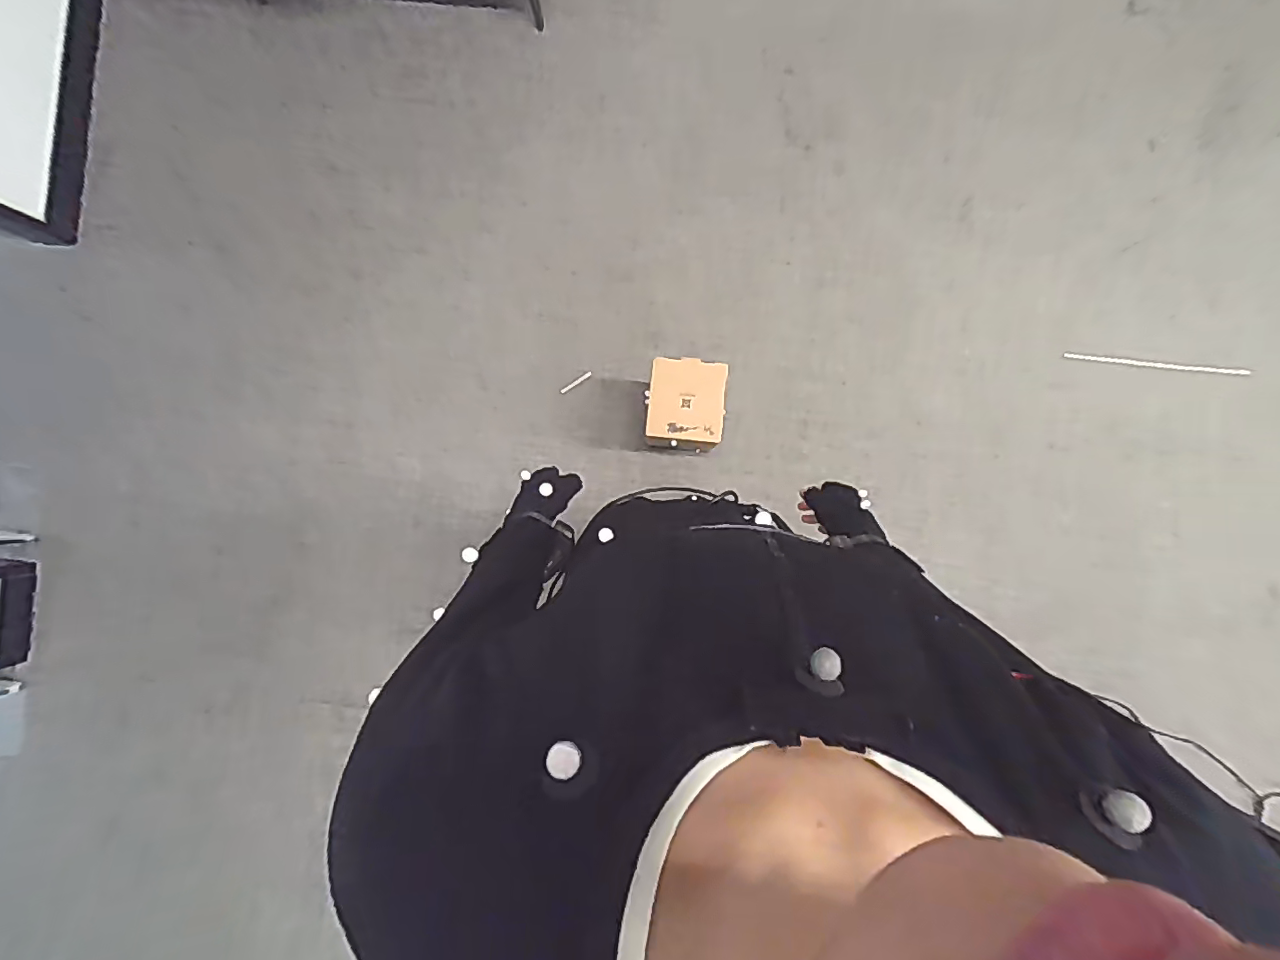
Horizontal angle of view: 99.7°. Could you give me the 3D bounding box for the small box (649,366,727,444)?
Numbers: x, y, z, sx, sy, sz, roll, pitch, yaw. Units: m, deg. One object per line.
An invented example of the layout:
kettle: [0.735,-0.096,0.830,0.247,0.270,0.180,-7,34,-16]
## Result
small box: [0.121,-0.188,1.404,0.179,0.176,0.168,7,90,2]
